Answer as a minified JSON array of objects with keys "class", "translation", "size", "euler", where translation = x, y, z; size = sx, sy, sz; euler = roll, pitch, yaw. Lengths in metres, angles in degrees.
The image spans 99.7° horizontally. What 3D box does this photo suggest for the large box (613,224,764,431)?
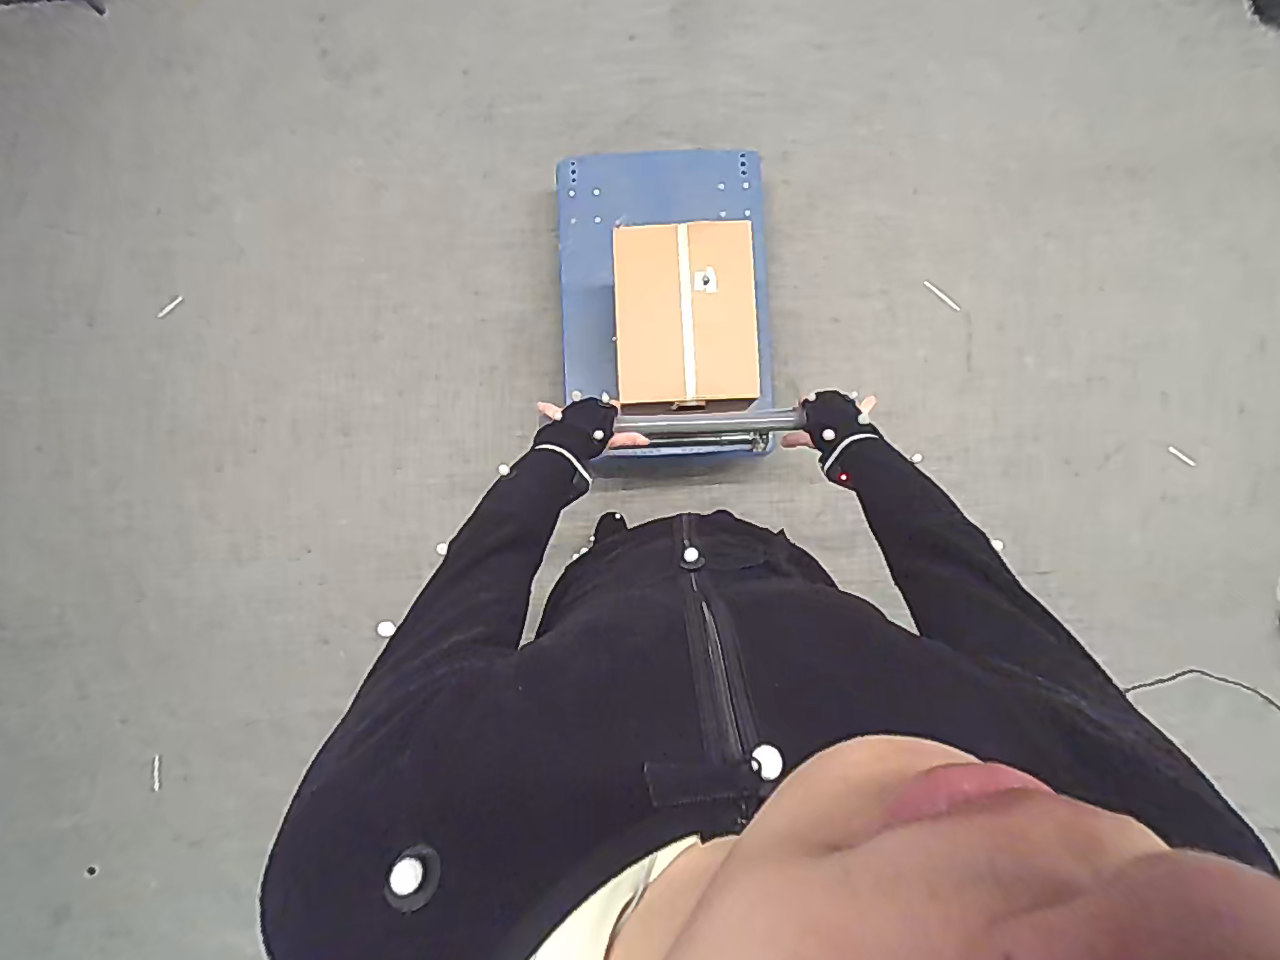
[{"class":"large box","translation":[0.106,-0.351,1.333],"size":[0.320,0.320,0.408],"euler":[-3,85,-1]}]
